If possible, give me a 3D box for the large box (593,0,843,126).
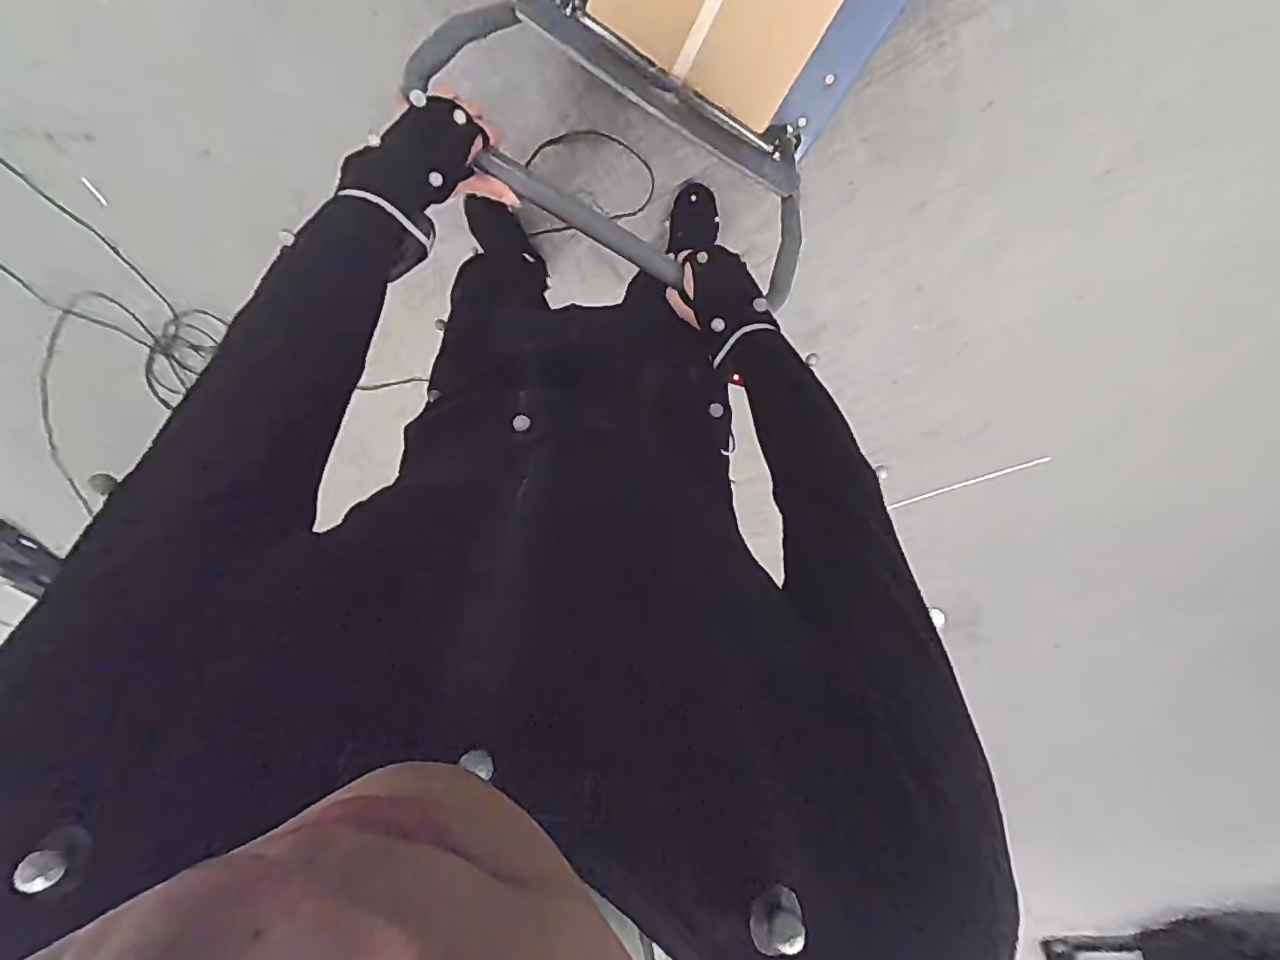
[{"bbox_3d":[0.175,-0.829,0.791,0.320,0.320,0.408,27,131,-13],"label":"large box"}]
